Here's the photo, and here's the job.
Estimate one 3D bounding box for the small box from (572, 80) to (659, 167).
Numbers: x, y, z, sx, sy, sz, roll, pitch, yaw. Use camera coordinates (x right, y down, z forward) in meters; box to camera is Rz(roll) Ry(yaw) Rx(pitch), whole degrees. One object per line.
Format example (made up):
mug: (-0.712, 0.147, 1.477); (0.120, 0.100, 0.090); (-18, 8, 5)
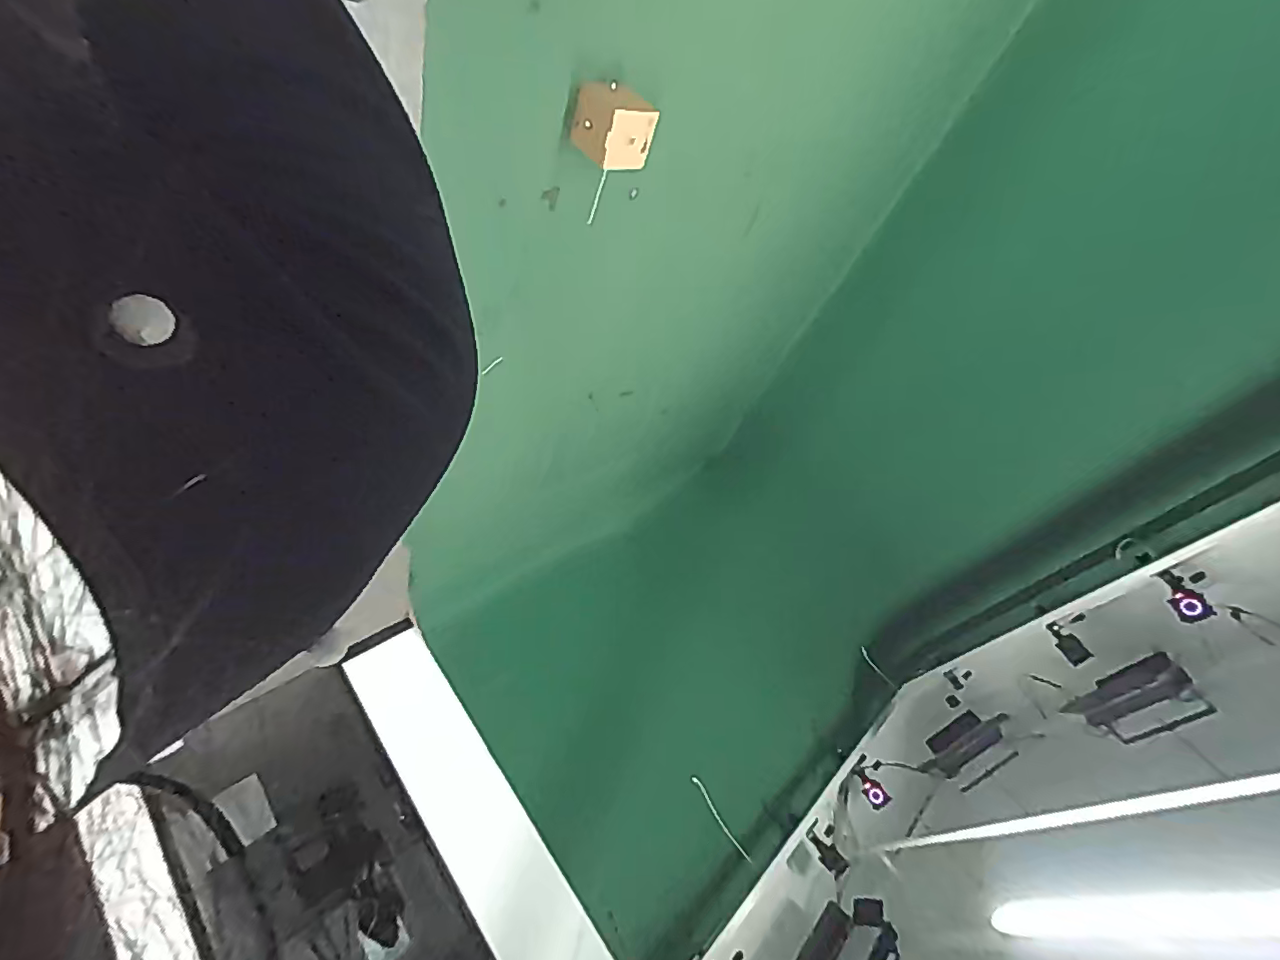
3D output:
small box: (-0.080, -1.072, 1.628); (0.179, 0.176, 0.168); (-24, 156, -36)
